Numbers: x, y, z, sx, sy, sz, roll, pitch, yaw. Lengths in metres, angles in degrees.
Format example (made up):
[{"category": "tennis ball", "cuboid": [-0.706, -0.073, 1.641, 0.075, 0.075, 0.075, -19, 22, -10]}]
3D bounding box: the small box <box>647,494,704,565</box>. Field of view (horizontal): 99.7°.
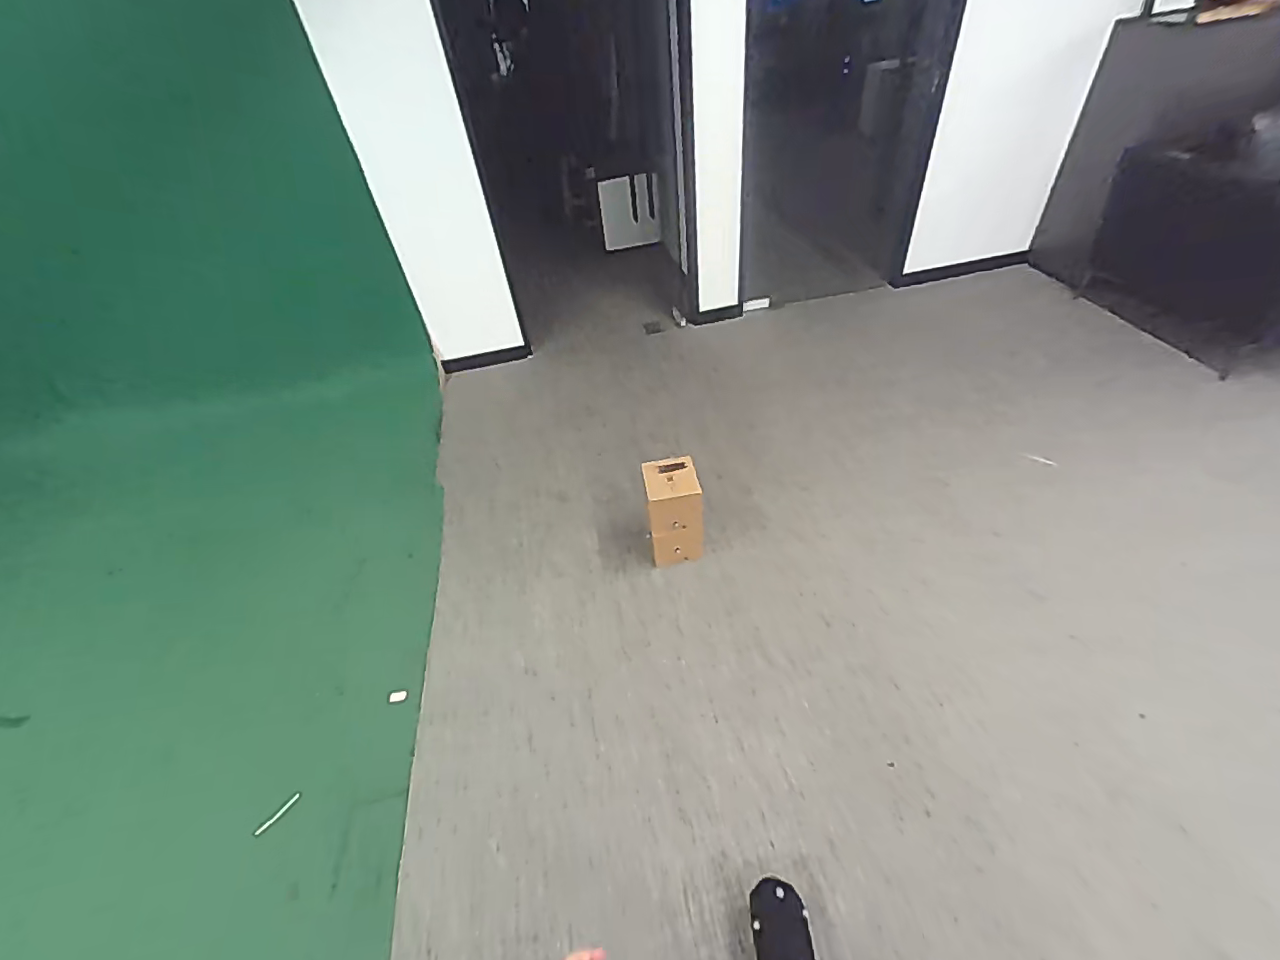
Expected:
[{"category": "small box", "cuboid": [0.124, 0.177, 1.863, 0.168, 0.176, 0.179, -11, 44, -3]}]
